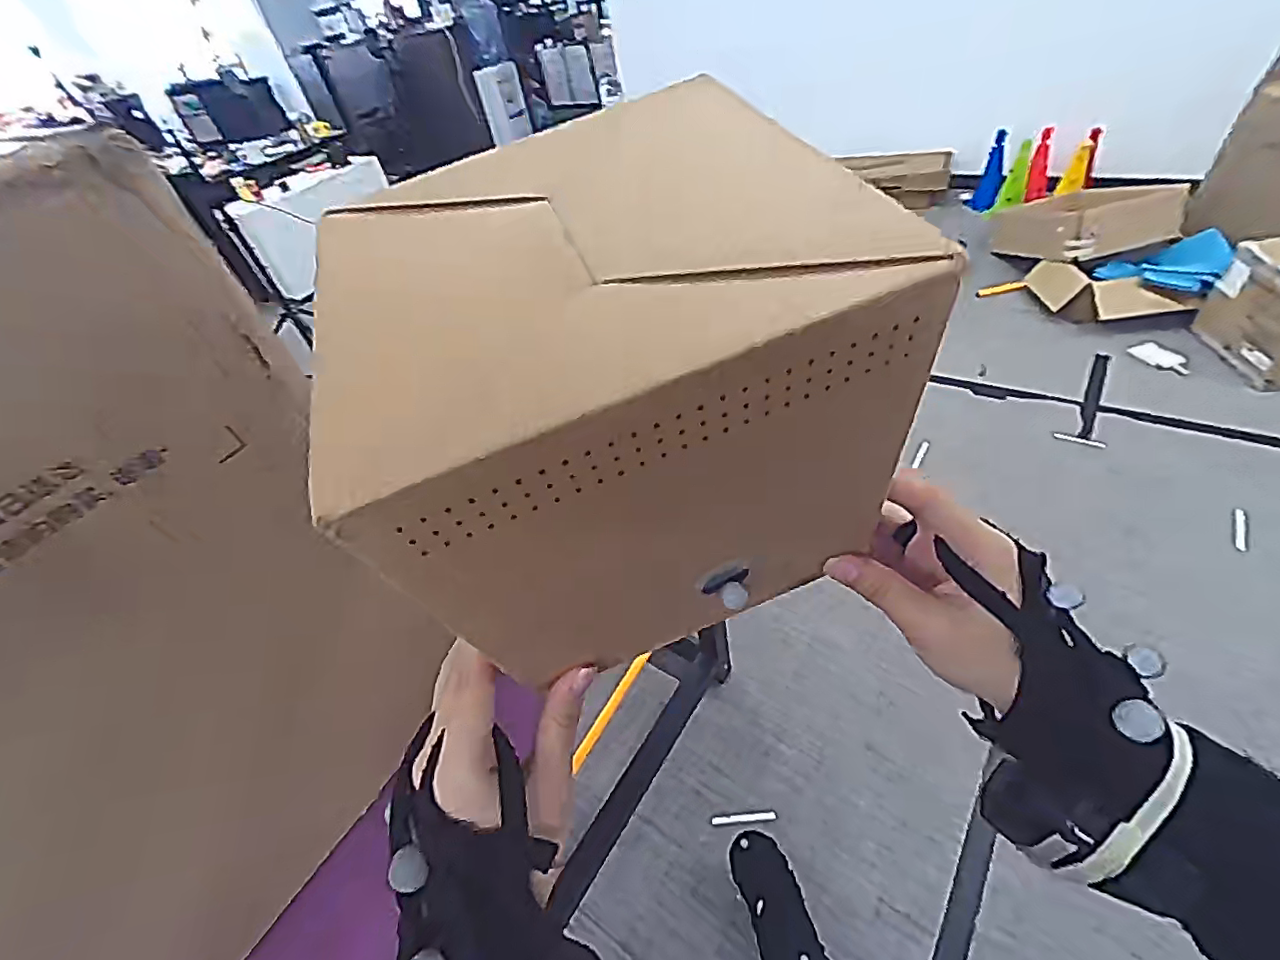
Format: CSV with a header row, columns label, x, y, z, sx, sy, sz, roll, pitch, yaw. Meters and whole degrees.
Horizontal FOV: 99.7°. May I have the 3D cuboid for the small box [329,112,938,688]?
label,x,y,z,sx,sy,sz,roll,pitch,yaw
small box,-0.005,-0.036,0.246,0.179,0.176,0.168,-22,53,-5
